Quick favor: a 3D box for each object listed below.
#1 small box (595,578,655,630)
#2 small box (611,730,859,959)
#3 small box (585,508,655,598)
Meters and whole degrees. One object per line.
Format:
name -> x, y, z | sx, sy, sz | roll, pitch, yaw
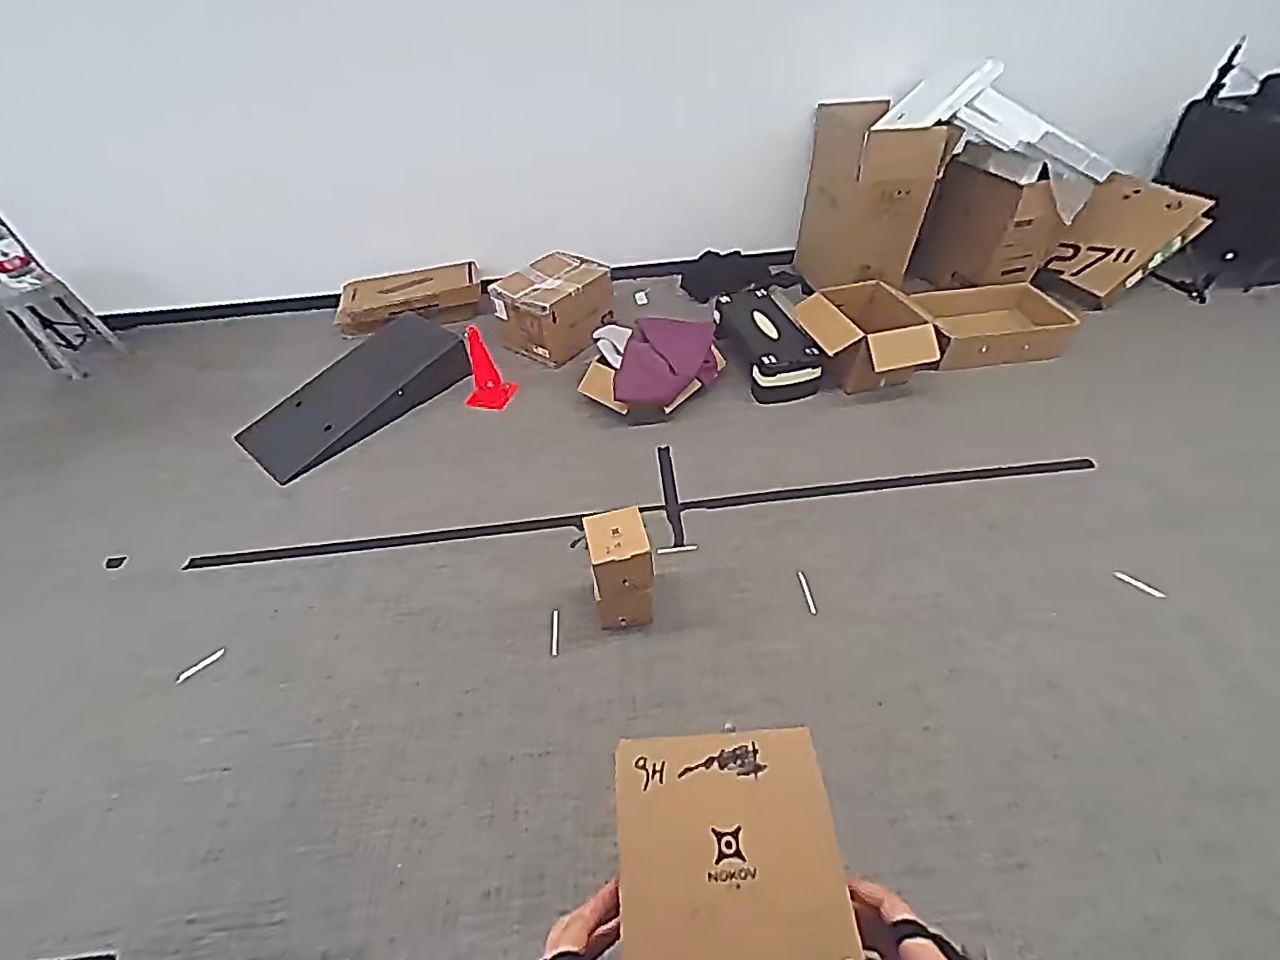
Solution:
small box -> -0.049, 0.337, 1.667 | 0.168, 0.176, 0.179 | -9, 46, -3
small box -> 0.065, 0.330, 0.459 | 0.168, 0.176, 0.179 | -4, 52, -1
small box -> -0.058, 0.212, 1.559 | 0.168, 0.176, 0.179 | -13, 46, -6
